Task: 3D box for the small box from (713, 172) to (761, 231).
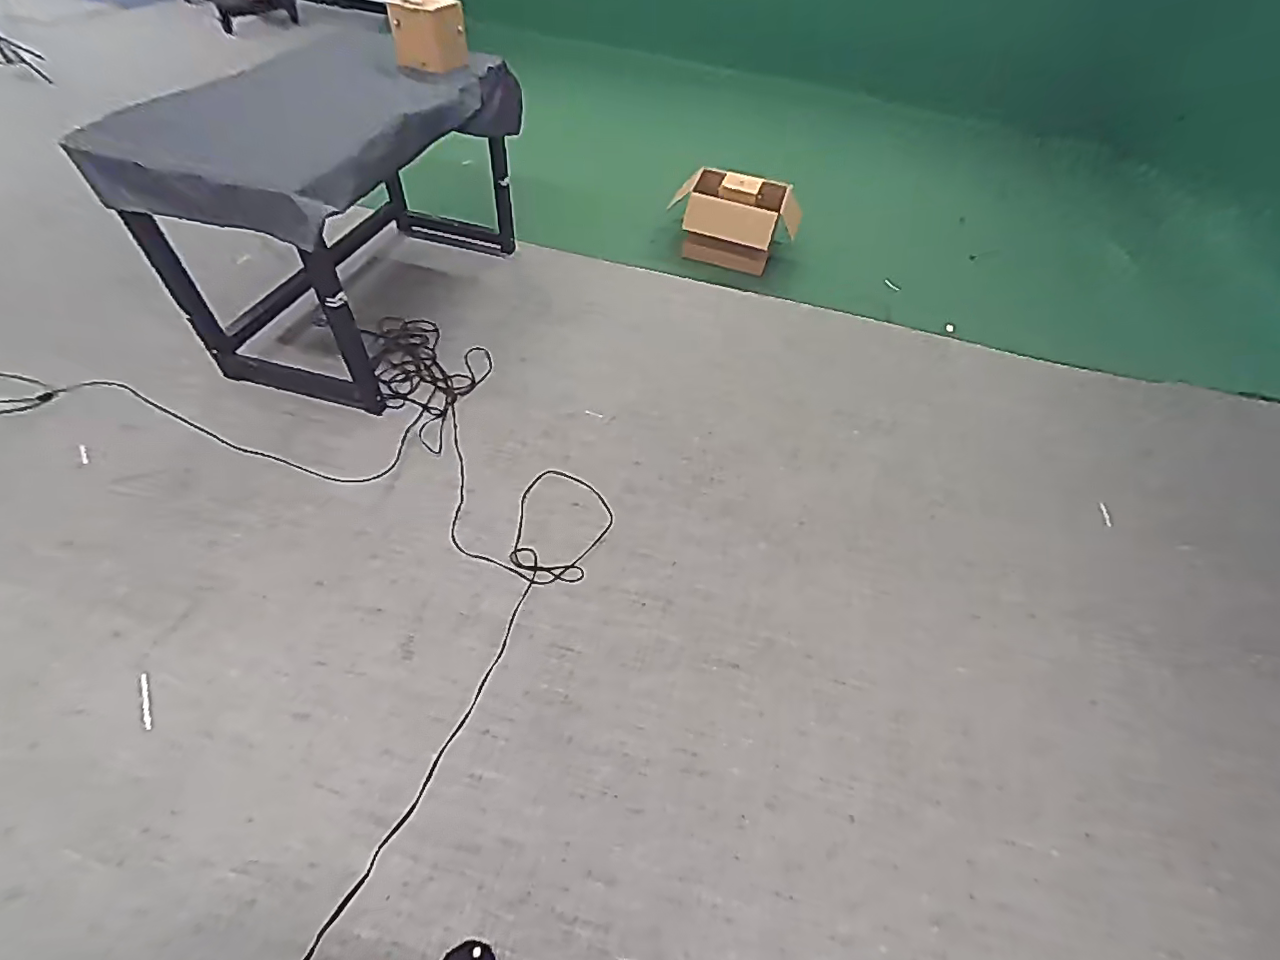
[{"bbox_3d":[0.441,-1.274,2.473,0.168,0.176,0.179,18,51,7],"label":"small box"}]
